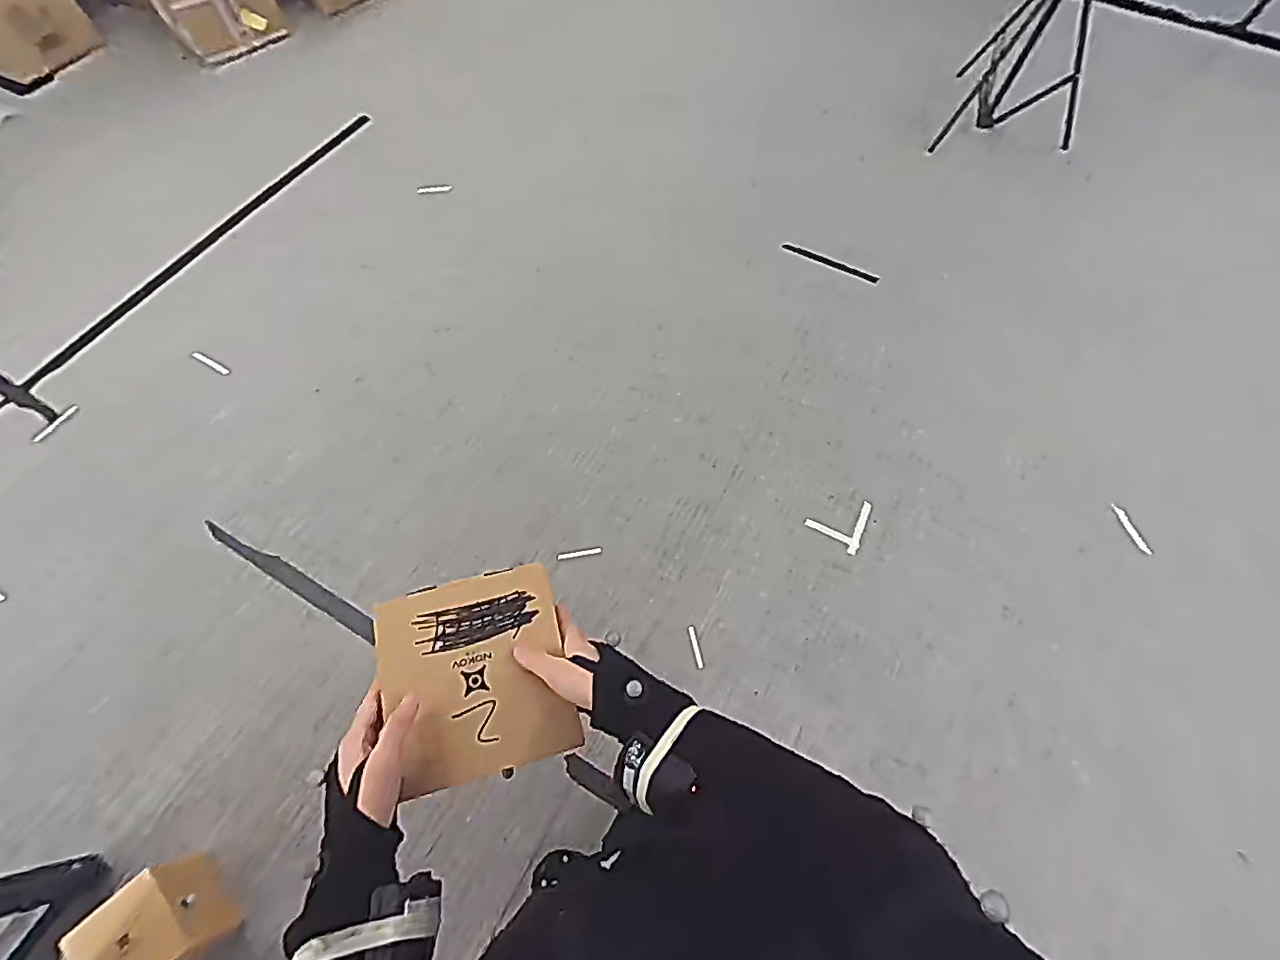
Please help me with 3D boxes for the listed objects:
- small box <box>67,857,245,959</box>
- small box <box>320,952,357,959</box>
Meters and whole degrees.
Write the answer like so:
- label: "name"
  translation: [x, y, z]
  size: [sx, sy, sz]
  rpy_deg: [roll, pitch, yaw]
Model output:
- label: "small box"
  translation: [-0.943, 0.887, 1.070]
  size: [0.168, 0.176, 0.179]
  rpy_deg: [-41, 73, -18]
- label: "small box"
  translation: [-0.599, 1.036, 1.009]
  size: [0.179, 0.176, 0.168]
  rpy_deg: [31, 68, 12]
